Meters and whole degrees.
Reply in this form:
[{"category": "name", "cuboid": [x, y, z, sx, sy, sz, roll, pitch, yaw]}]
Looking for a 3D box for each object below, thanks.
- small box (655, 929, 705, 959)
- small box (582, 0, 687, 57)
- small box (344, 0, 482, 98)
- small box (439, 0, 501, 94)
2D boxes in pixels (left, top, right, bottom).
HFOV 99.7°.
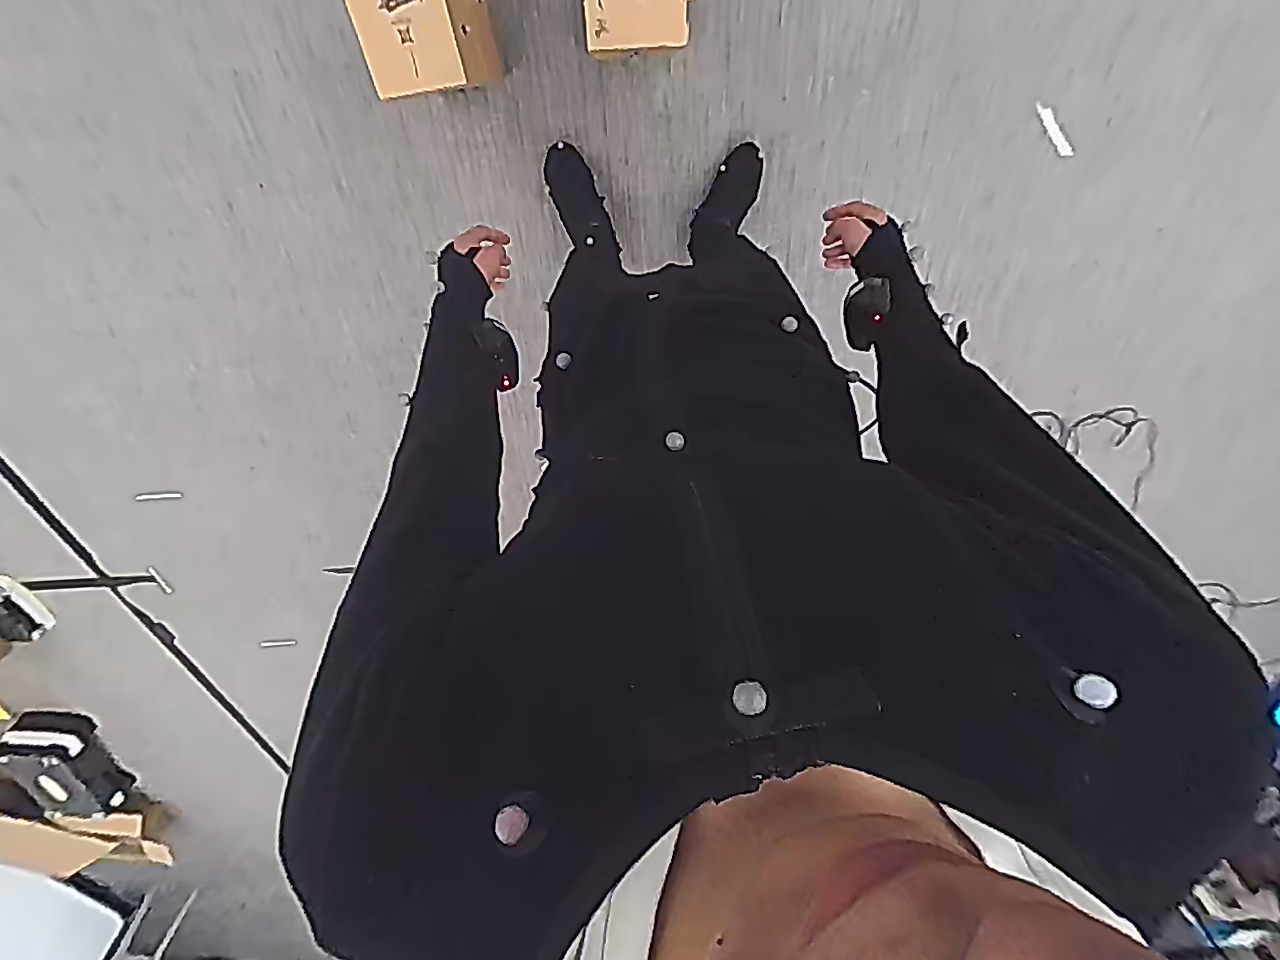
[{"category": "small box", "cuboid": [0.150, 1.756, 1.958, 0.179, 0.176, 0.168, -6, 127, 2]}, {"category": "small box", "cuboid": [-0.014, -0.854, 0.949, 0.179, 0.176, 0.168, -3, 126, -2]}, {"category": "small box", "cuboid": [-0.400, -0.804, 0.971, 0.168, 0.176, 0.179, -7, 127, 4]}, {"category": "small box", "cuboid": [-0.398, -0.905, 1.100, 0.168, 0.176, 0.179, -8, 126, 4]}]
